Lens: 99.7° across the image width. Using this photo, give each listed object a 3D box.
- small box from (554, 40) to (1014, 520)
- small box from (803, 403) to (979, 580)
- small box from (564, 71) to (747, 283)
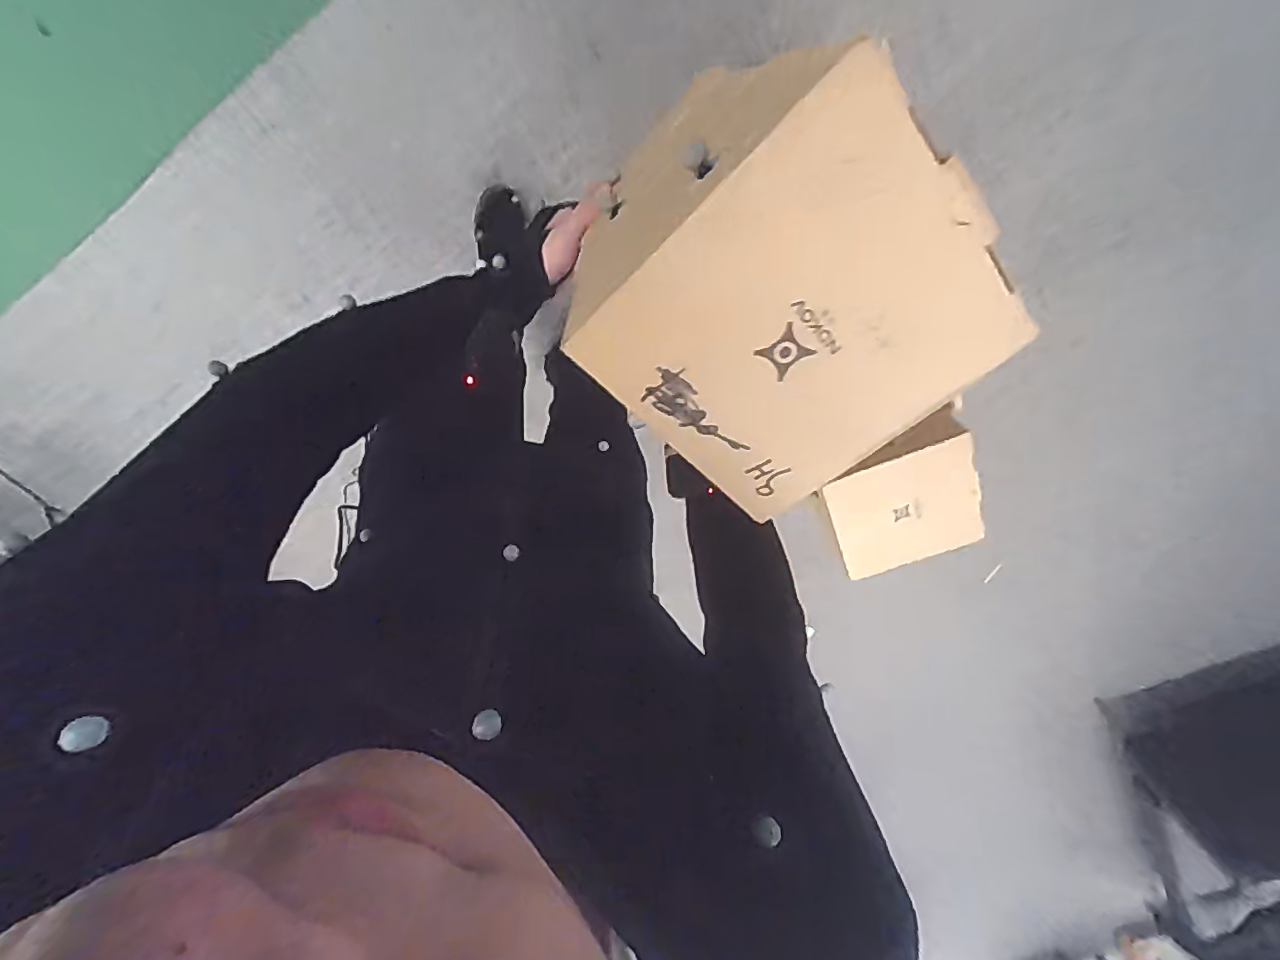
[{"bbox_3d":[0.068,-0.116,0.332,0.179,0.176,0.168,-40,117,23],"label":"small box"},{"bbox_3d":[0.317,-0.001,0.733,0.179,0.176,0.168,-22,118,10],"label":"small box"},{"bbox_3d":[0.058,-0.207,0.469,0.179,0.176,0.168,-39,118,23],"label":"small box"}]
